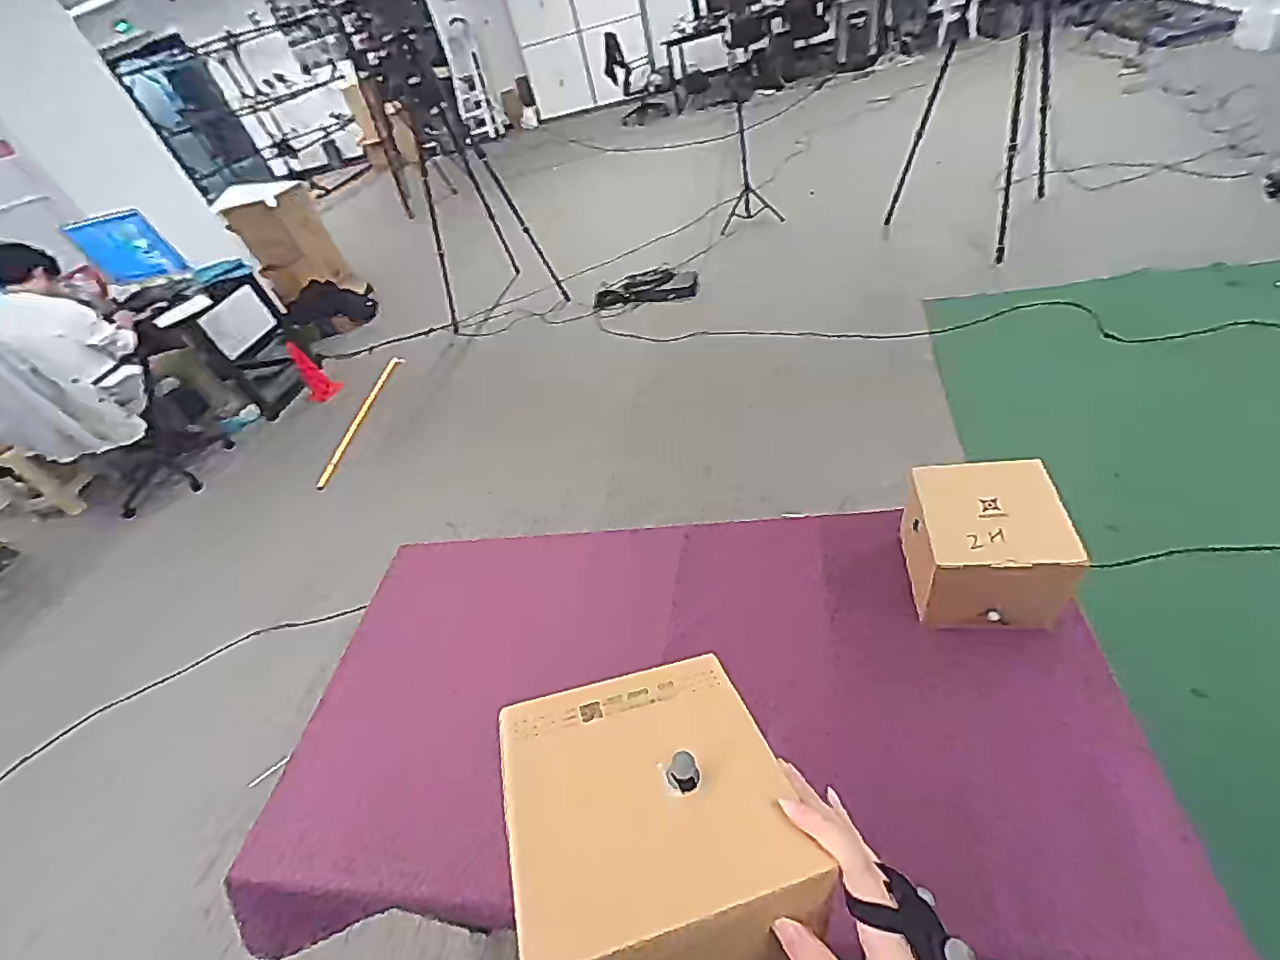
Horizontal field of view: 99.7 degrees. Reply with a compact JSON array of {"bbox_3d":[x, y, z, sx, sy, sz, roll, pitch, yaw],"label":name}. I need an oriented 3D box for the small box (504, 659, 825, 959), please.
[{"bbox_3d":[0.004,0.249,0.376,0.168,0.179,0.176,-10,27,-13],"label":"small box"}]

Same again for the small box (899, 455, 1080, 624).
[{"bbox_3d":[0.478,0.087,0.776,0.168,0.176,0.179,-4,48,17],"label":"small box"}]
